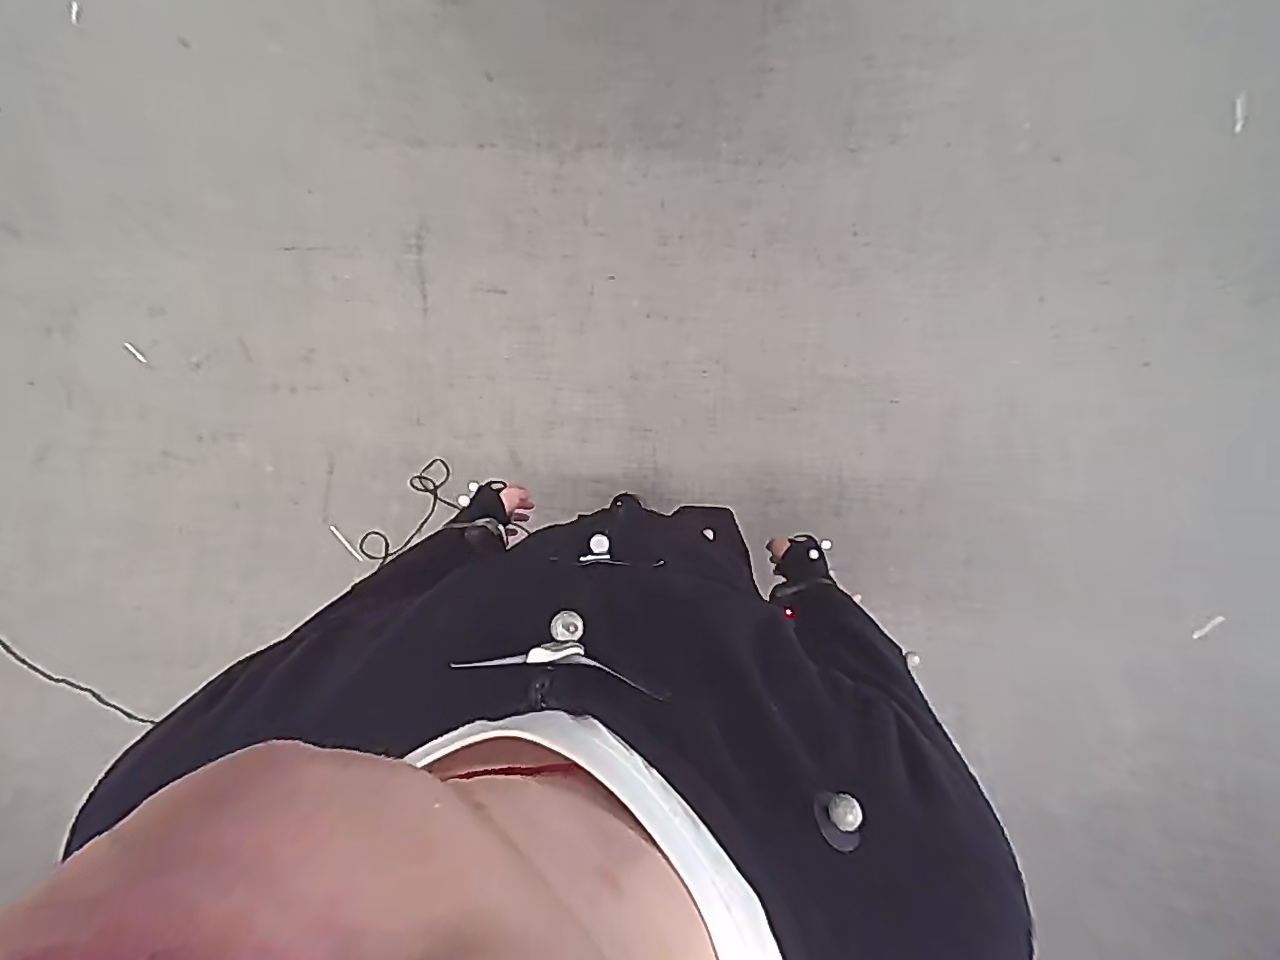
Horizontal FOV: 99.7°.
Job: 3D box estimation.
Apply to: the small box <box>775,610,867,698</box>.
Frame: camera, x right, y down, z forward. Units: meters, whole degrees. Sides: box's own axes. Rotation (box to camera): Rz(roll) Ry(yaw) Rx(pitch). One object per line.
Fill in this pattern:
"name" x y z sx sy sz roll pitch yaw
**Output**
"small box" 0.473 0.453 1.434 0.179 0.176 0.168 10 89 3
